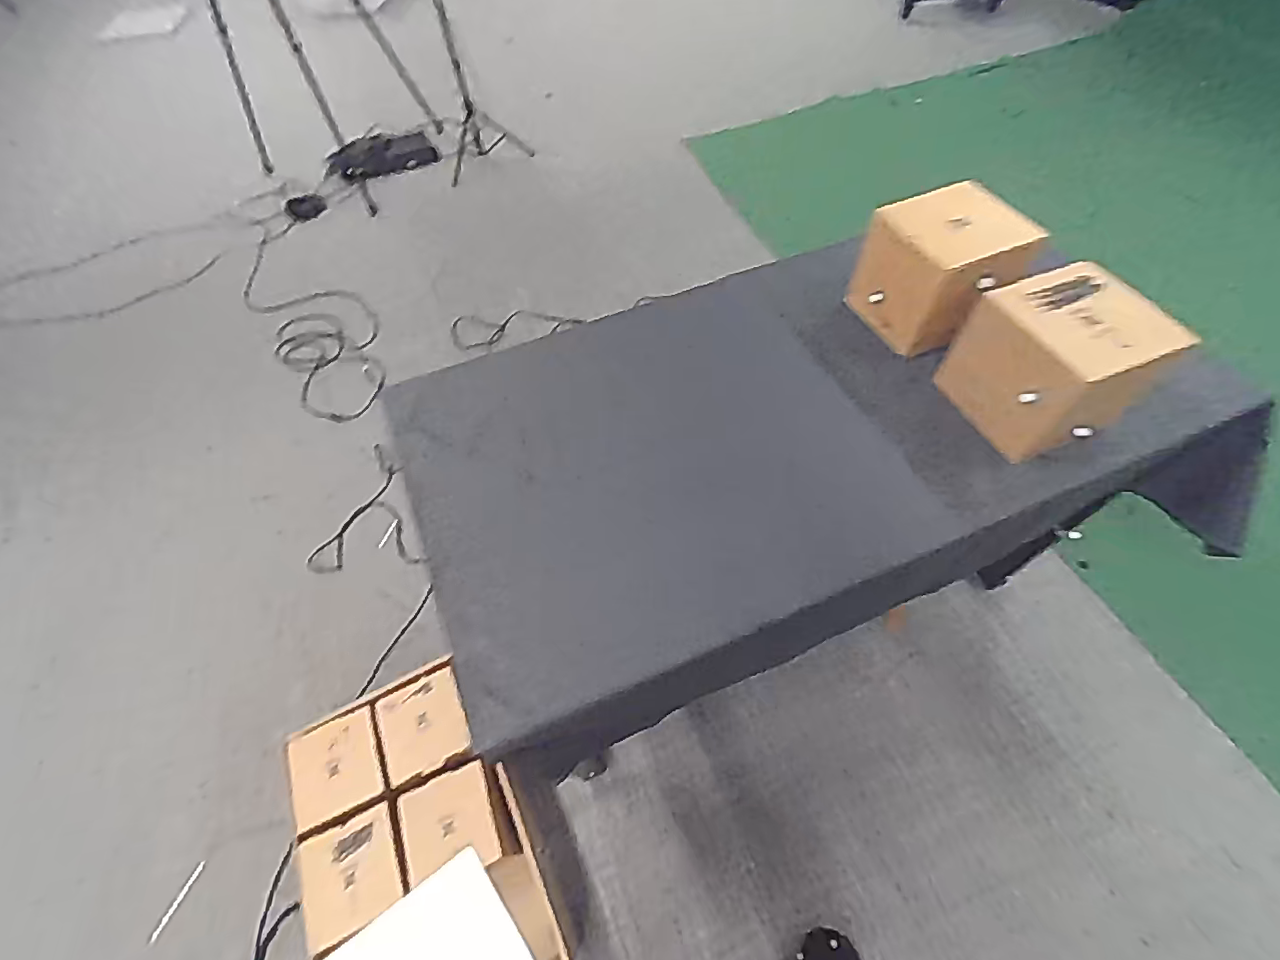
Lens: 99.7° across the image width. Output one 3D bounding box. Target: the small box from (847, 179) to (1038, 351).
[{"bbox_3d":[0.464,-0.338,0.863,0.179,0.176,0.168,-22,59,-9],"label":"small box"}]
